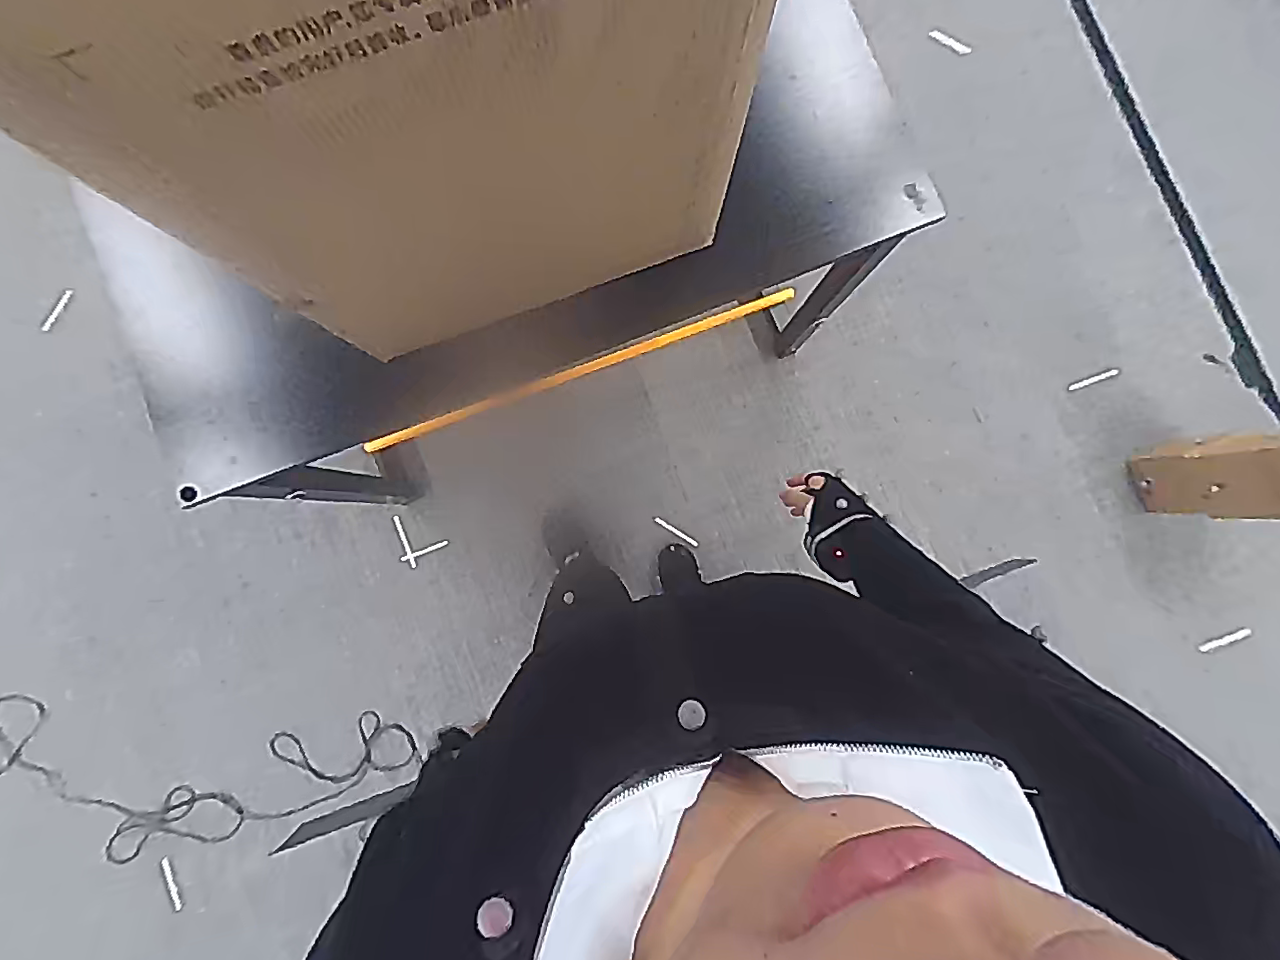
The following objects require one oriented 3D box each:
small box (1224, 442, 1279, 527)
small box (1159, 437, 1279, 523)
[{"bbox_3d":[1.496,0.002,1.208,0.179,0.176,0.168,-21,86,-2],"label":"small box"},{"bbox_3d":[1.500,0.002,1.373,0.179,0.176,0.168,-21,86,-1],"label":"small box"}]
